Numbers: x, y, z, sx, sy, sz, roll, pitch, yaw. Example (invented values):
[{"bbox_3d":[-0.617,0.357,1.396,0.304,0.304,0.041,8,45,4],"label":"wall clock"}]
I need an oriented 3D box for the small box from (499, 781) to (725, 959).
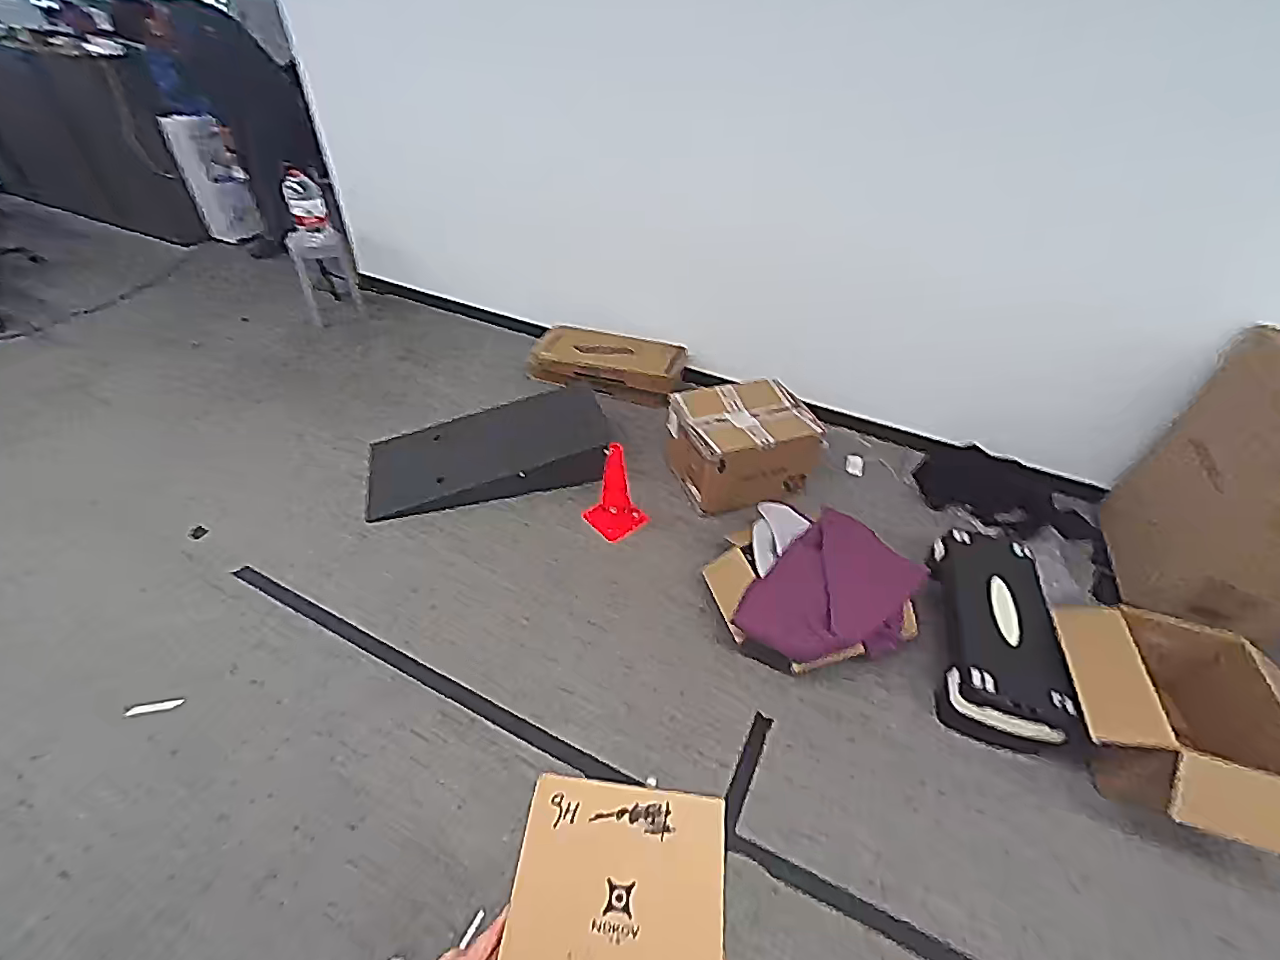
[{"bbox_3d":[-0.021,0.384,0.470,0.168,0.176,0.179,6,50,2],"label":"small box"}]
